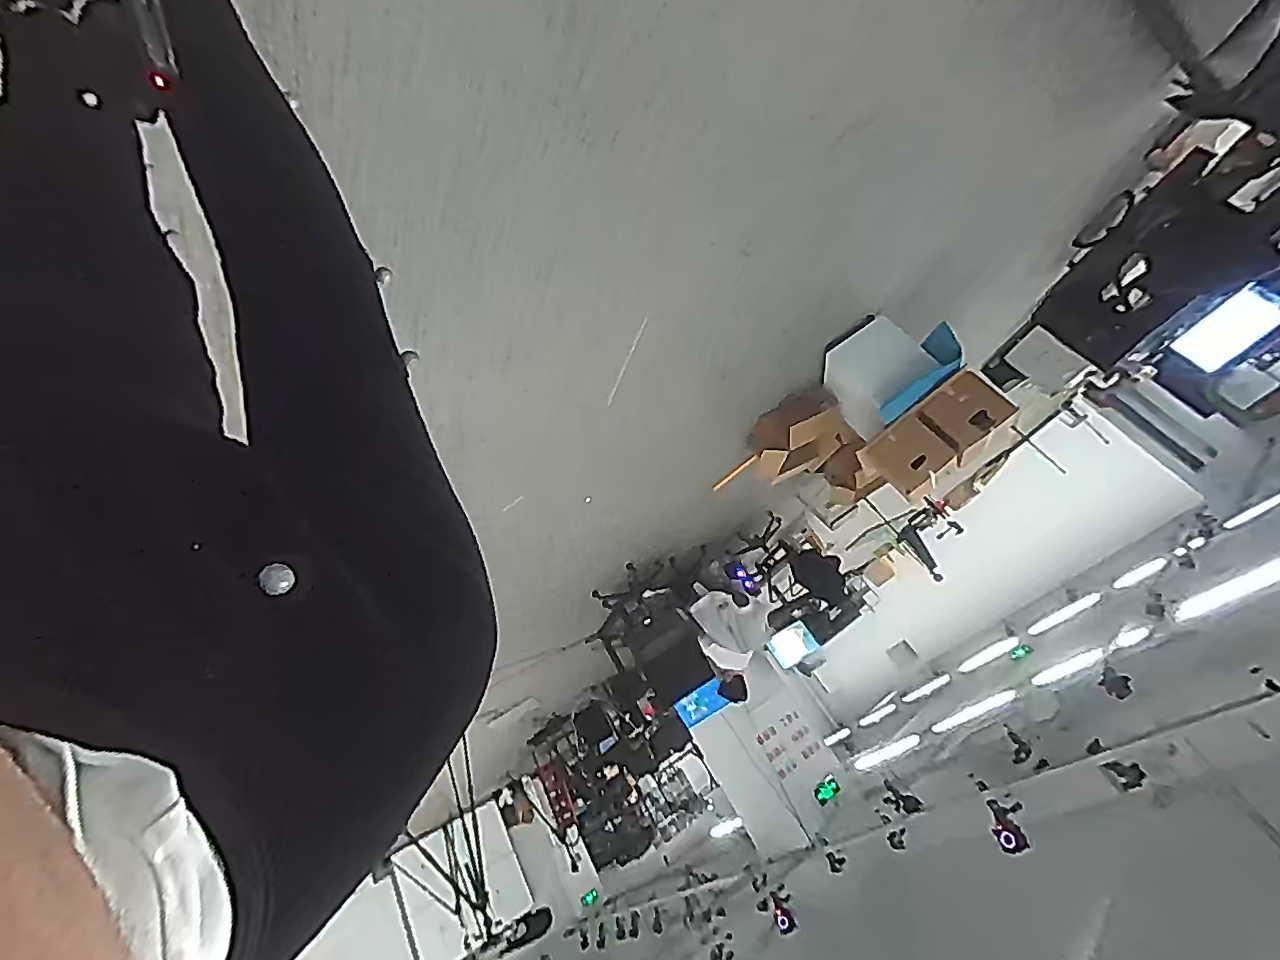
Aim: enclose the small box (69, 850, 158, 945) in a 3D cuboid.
[{"bbox_3d":[-1.614,1.279,1.662,0.168,0.176,0.179,-14,146,-37],"label":"small box"}]
